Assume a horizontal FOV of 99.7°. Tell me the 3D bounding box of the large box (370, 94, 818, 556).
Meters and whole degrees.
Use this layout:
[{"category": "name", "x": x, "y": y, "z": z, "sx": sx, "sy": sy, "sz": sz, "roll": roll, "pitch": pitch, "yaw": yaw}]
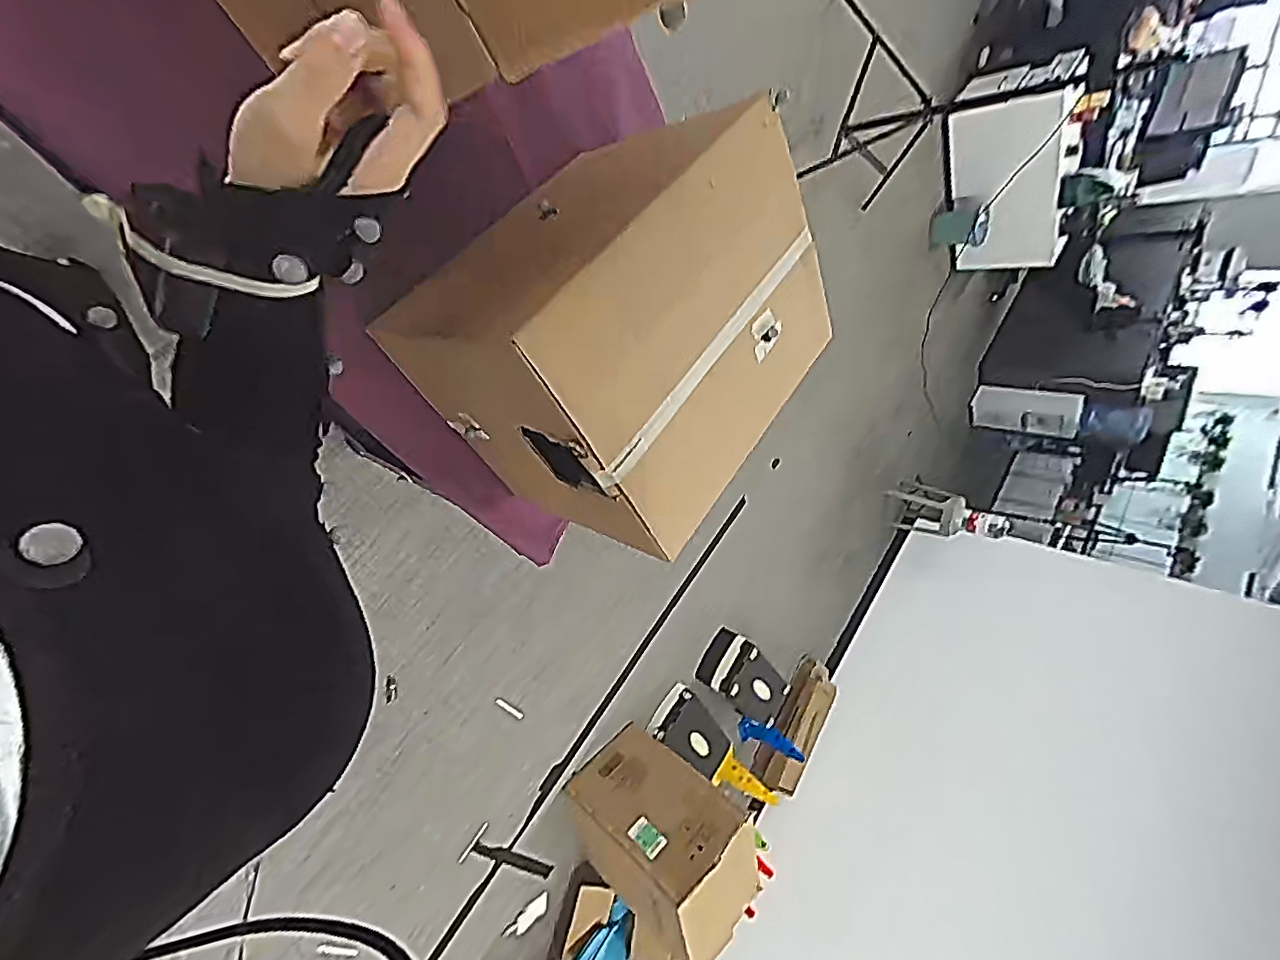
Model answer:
[{"category": "large box", "x": -0.034, "y": -0.183, "z": 0.678, "sx": 0.408, "sy": 0.320, "sz": 0.320, "roll": -53, "pitch": 134, "yaw": -22}]
